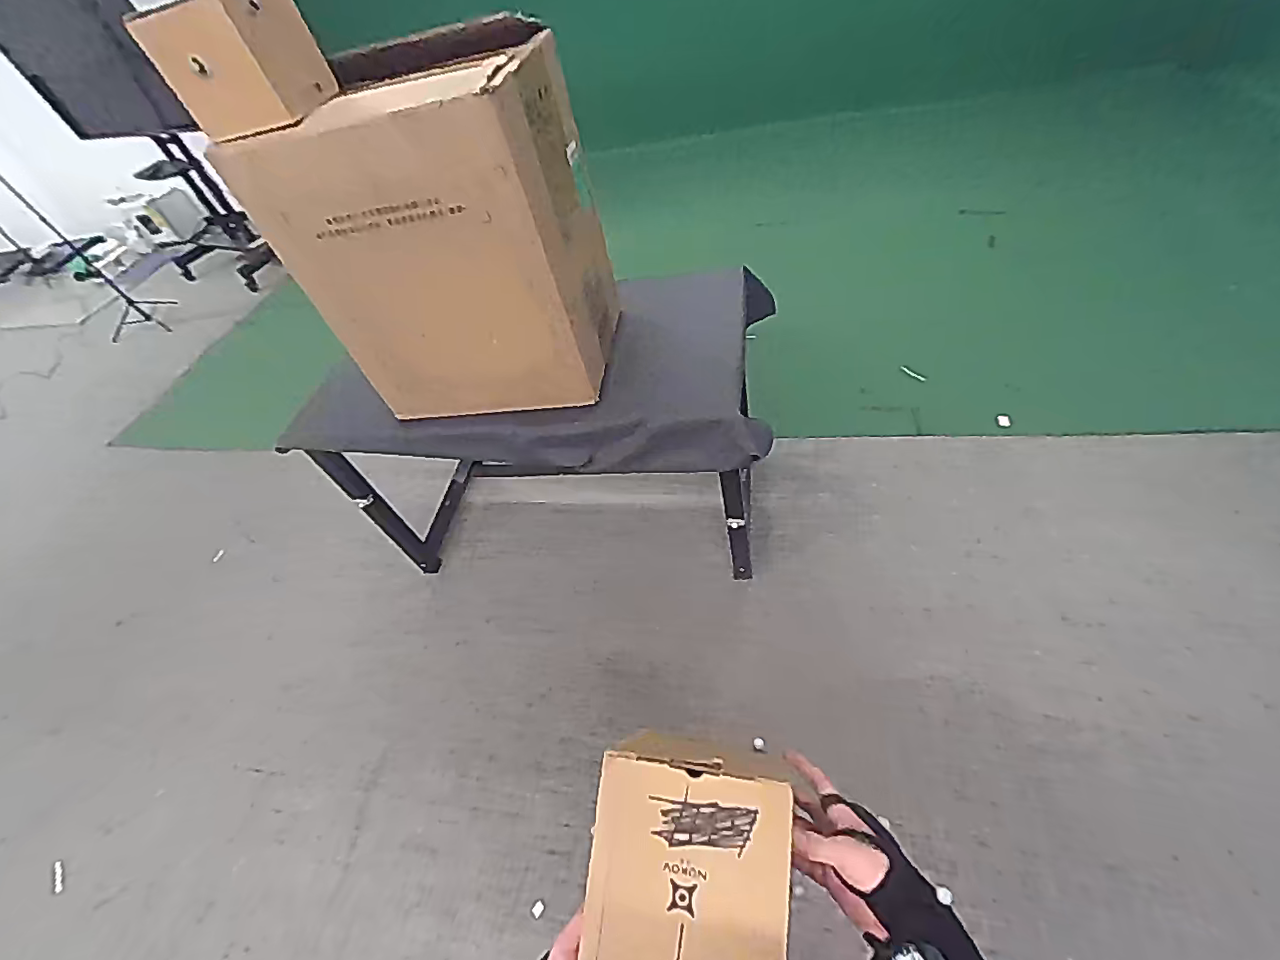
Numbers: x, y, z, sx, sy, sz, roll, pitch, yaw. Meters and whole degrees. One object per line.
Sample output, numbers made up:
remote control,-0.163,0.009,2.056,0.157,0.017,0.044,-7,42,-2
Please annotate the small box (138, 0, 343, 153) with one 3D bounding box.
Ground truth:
small box,-0.648,-0.674,0.901,0.179,0.176,0.168,-4,50,15
